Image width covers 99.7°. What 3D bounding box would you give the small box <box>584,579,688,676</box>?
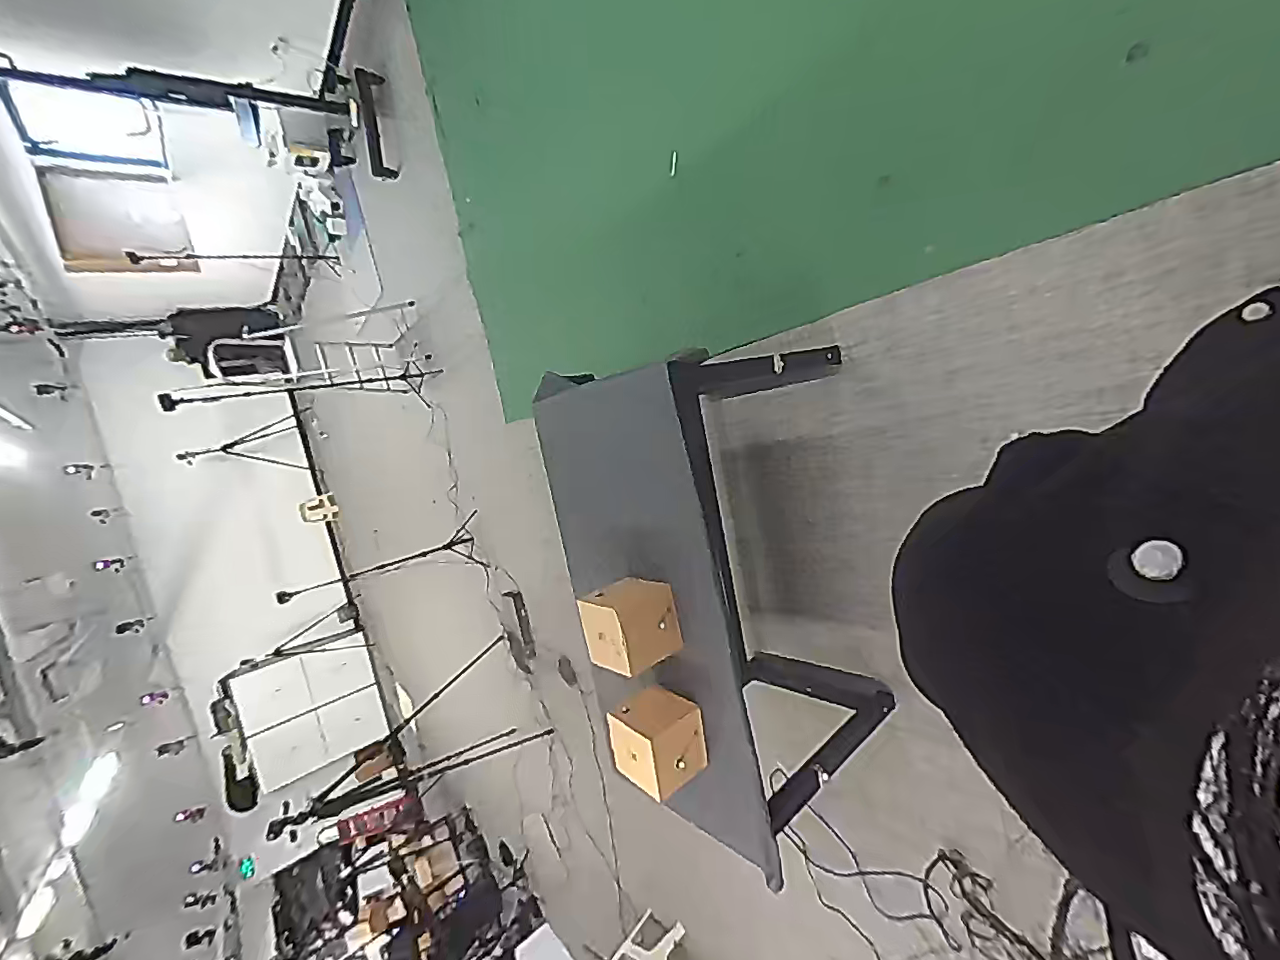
[{"bbox_3d":[-0.009,0.351,1.328,0.179,0.176,0.168,-5,100,53],"label":"small box"}]

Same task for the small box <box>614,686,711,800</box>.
[{"bbox_3d":[0.063,0.643,1.350,0.179,0.176,0.168,3,106,52],"label":"small box"}]
